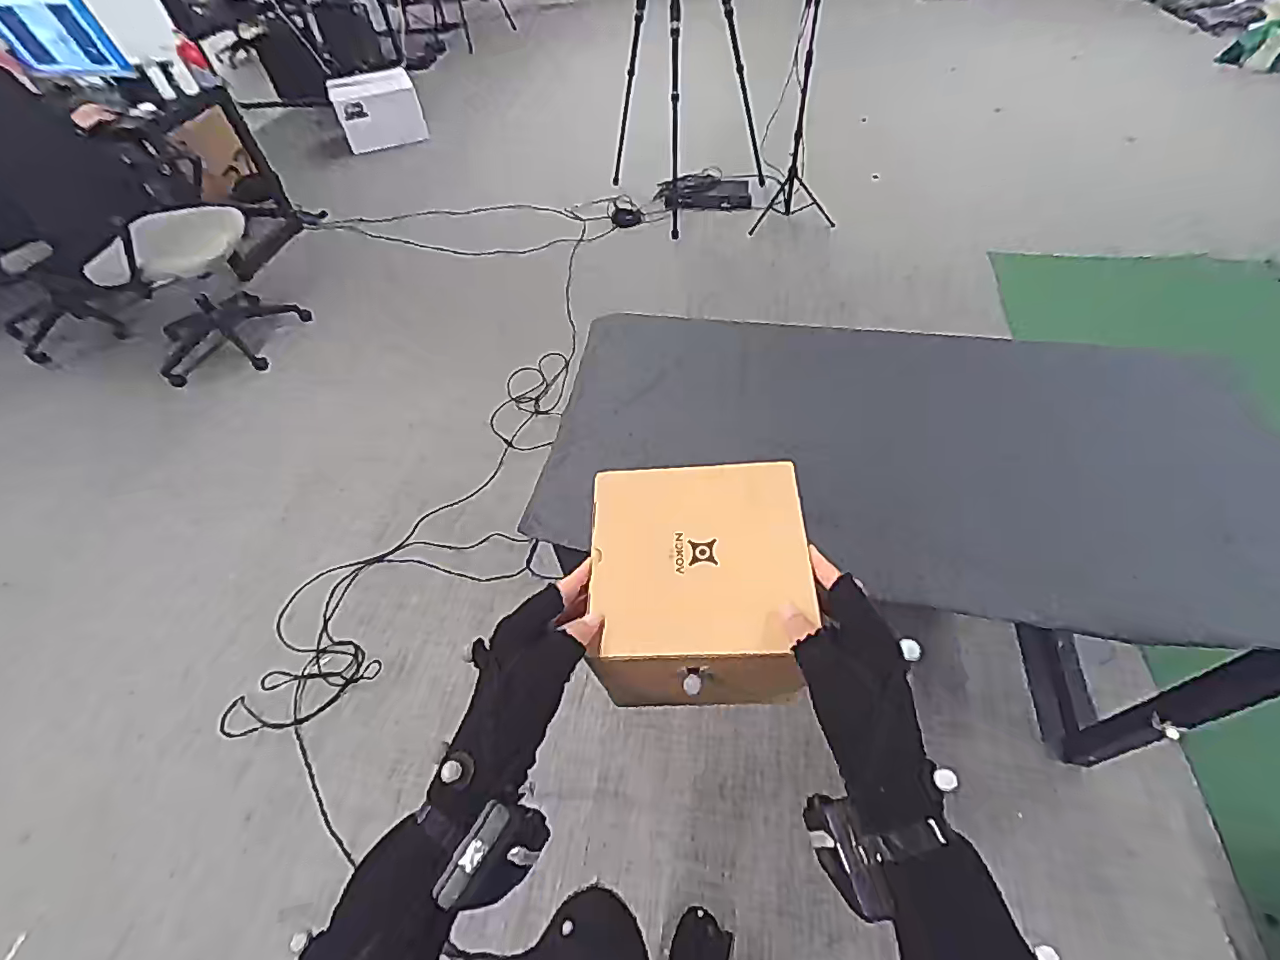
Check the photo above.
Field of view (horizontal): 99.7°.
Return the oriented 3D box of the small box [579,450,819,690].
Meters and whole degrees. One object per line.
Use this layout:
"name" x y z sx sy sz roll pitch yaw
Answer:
"small box" 0.050 0.090 0.499 0.179 0.176 0.168 -4 56 6
